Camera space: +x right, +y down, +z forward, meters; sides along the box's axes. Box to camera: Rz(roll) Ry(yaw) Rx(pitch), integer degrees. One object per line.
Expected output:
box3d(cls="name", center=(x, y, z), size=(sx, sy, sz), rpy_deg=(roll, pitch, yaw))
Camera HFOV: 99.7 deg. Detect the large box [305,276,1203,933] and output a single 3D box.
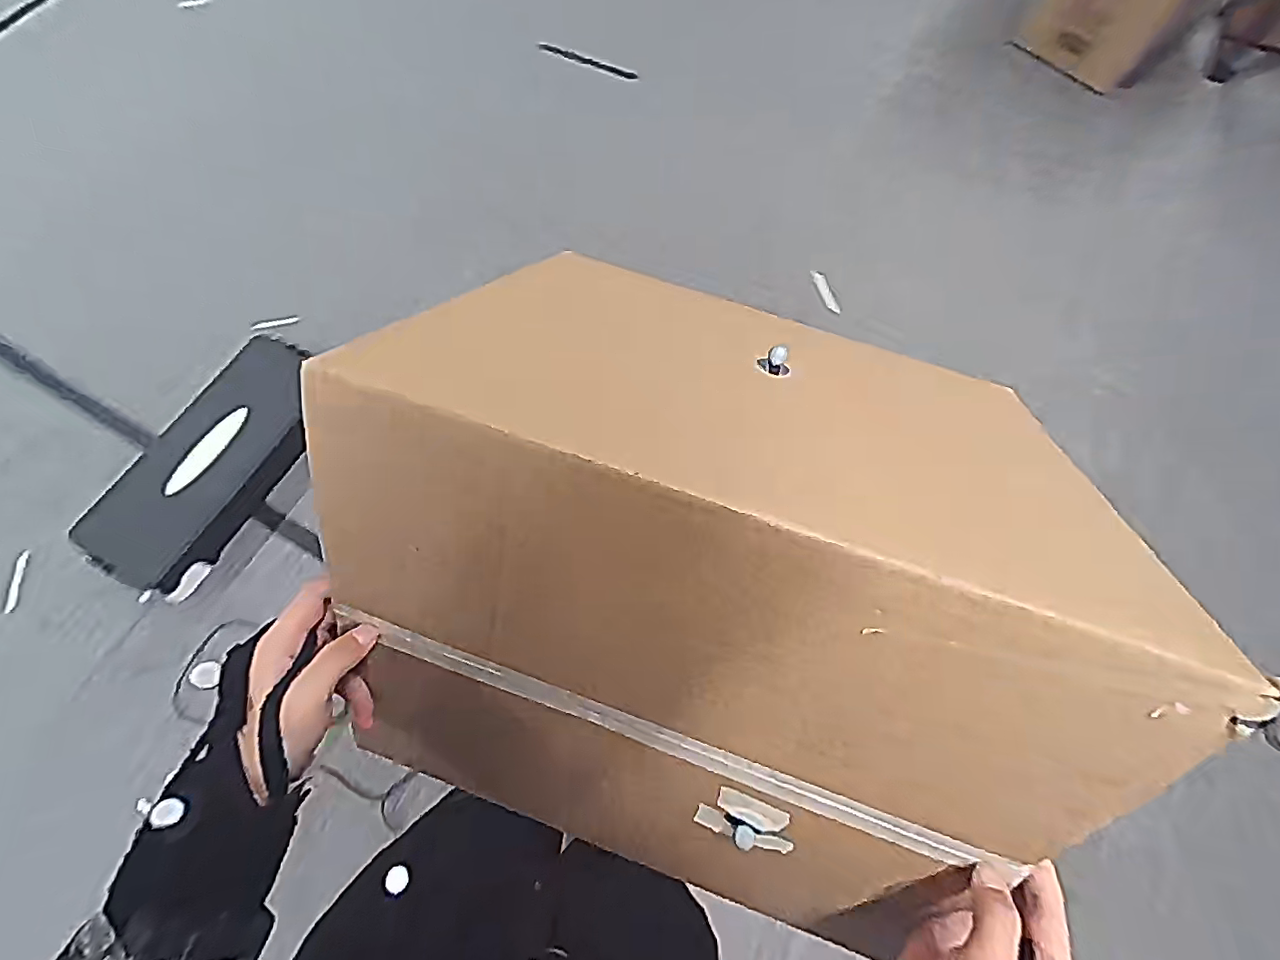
box3d(cls="large box", center=(0.038, 0.061, 0.435), size=(0.408, 0.320, 0.320), rpy_deg=(17, 35, 5))
